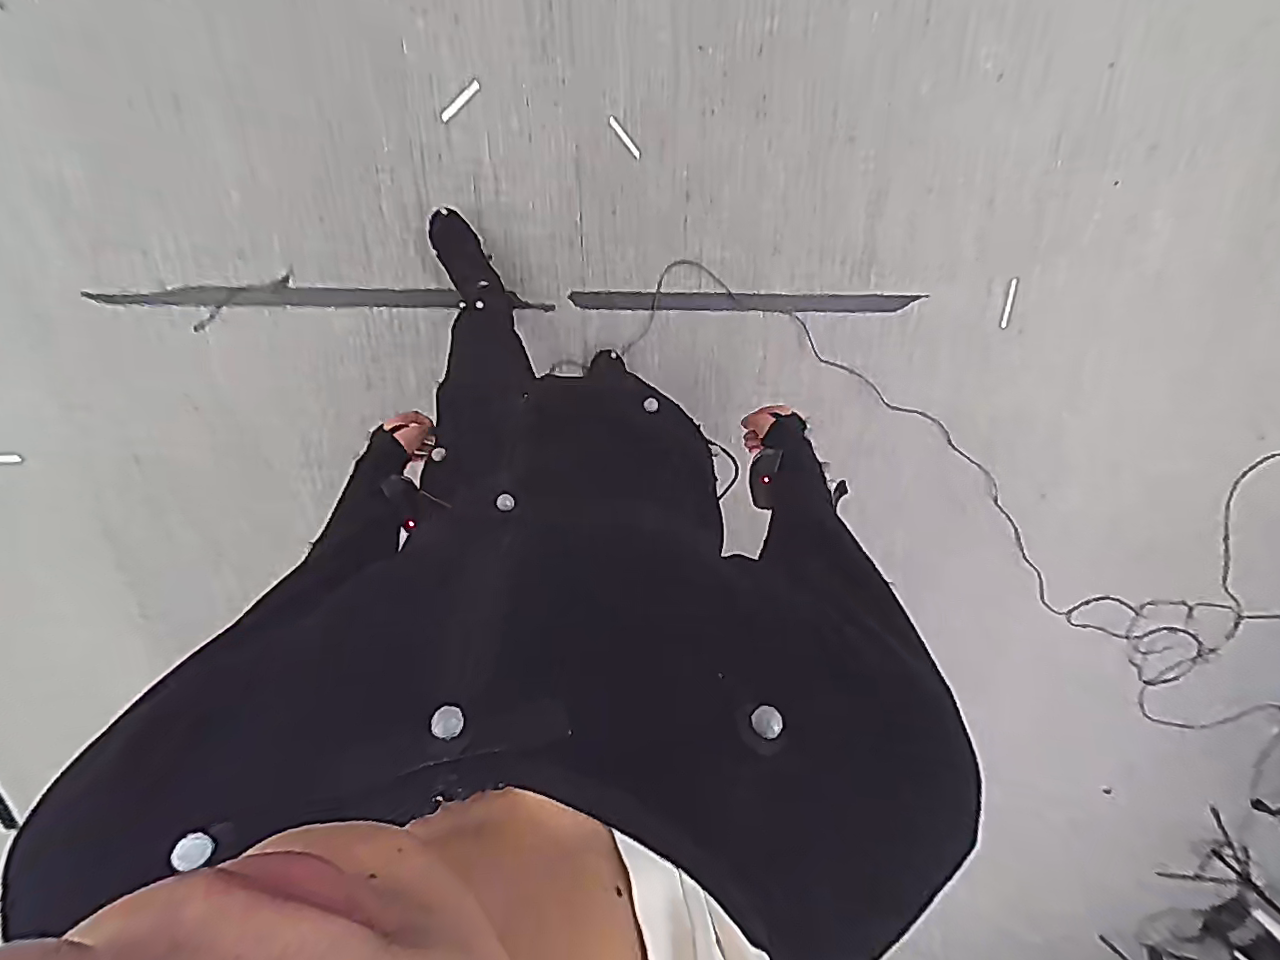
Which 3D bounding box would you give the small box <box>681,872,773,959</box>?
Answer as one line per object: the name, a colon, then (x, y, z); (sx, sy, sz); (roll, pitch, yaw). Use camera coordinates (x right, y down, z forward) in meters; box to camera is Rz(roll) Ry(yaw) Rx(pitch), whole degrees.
small box: (0.189, 1.034, 1.221); (0.168, 0.176, 0.179); (-4, 110, -6)
